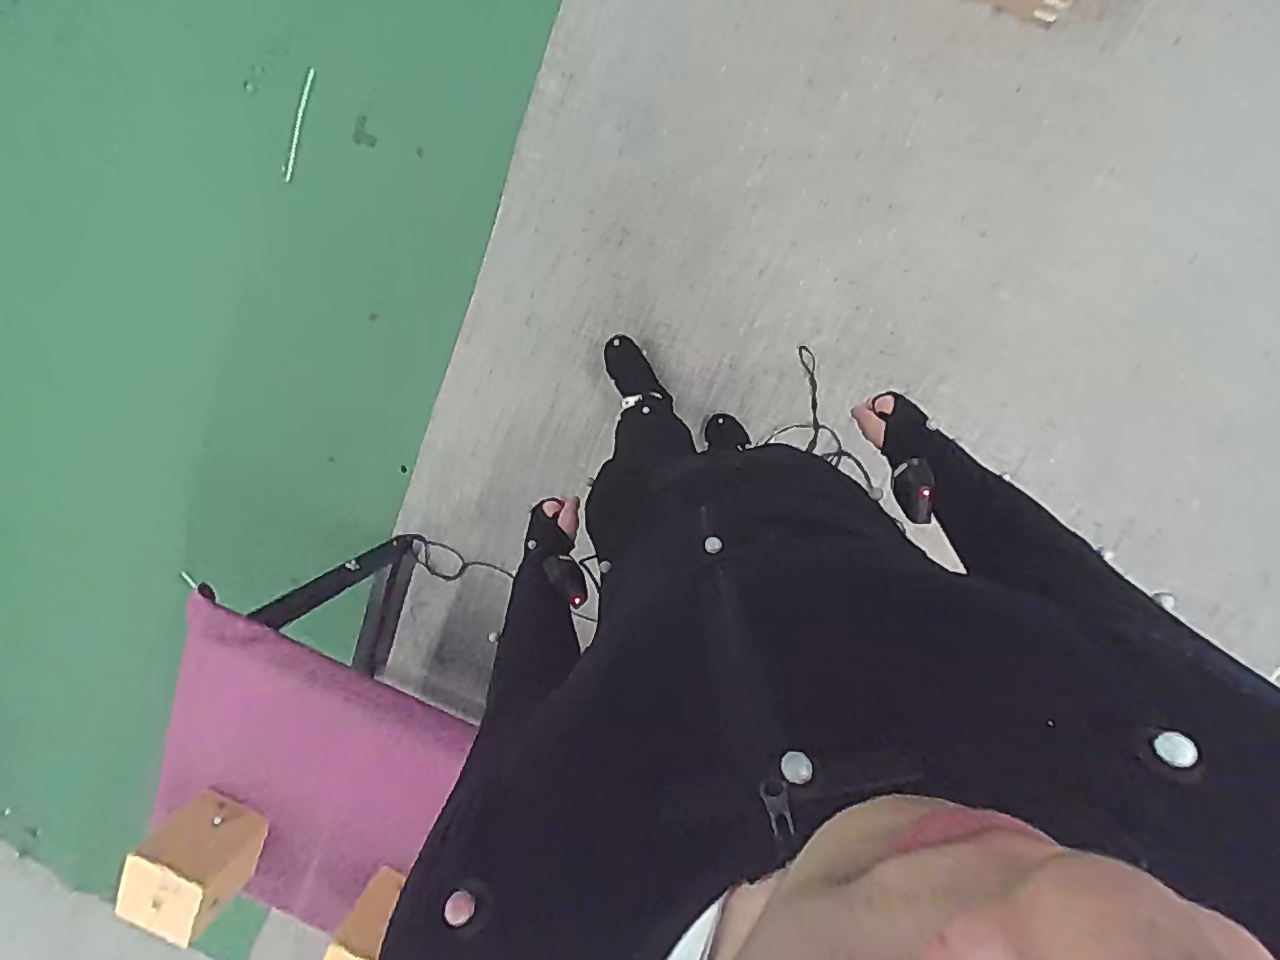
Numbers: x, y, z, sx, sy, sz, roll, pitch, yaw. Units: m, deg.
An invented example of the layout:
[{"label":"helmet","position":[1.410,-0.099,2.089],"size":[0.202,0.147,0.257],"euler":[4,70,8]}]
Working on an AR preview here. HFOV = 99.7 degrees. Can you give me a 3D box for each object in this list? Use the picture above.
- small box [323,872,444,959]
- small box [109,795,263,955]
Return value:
[{"label":"small box","position":[-0.527,0.958,1.096],"size":[0.168,0.176,0.179],"euler":[24,103,3]},{"label":"small box","position":[-0.927,0.806,1.118],"size":[0.168,0.176,0.179],"euler":[25,104,0]}]
